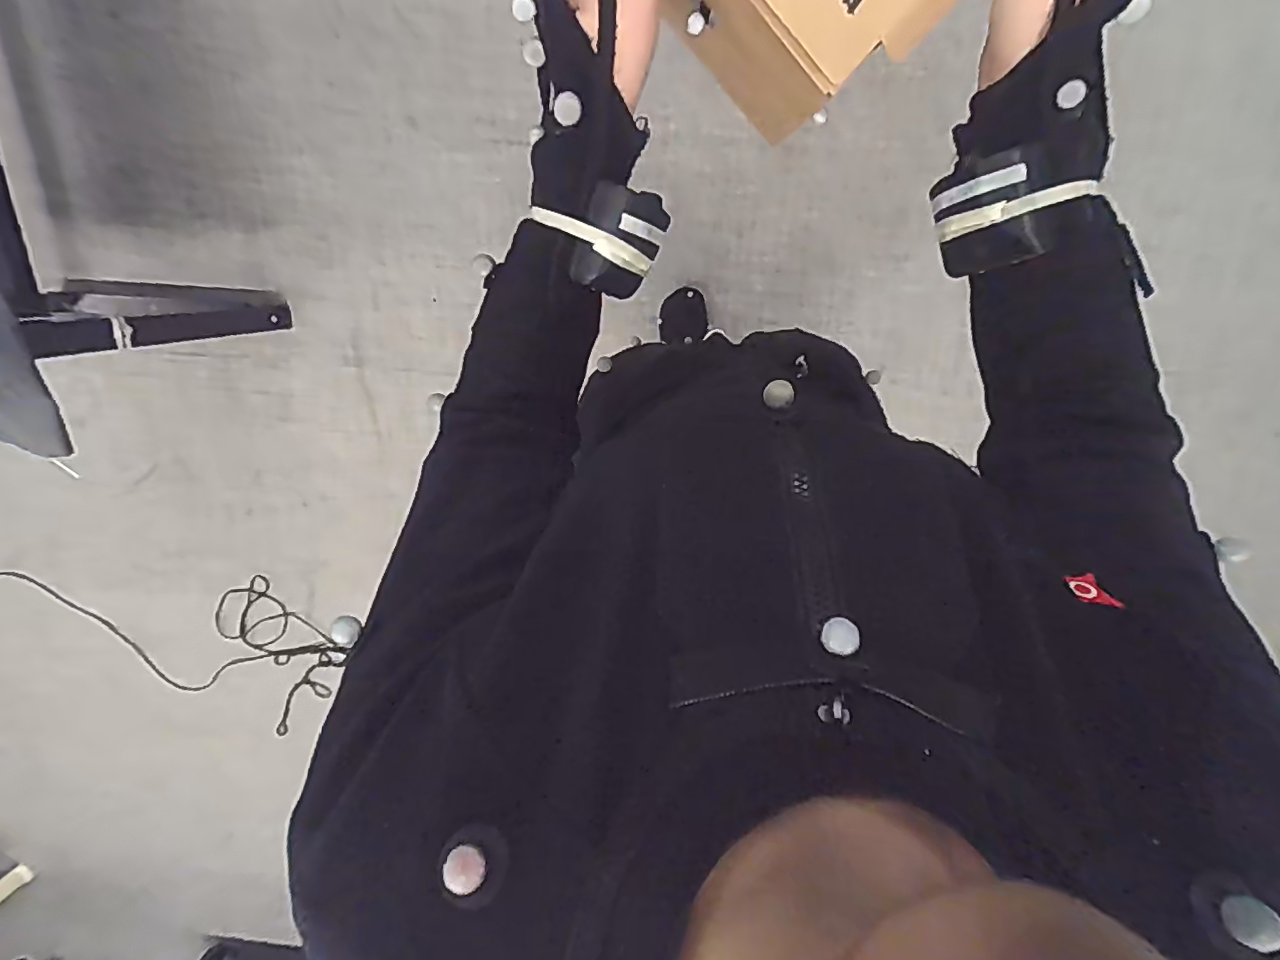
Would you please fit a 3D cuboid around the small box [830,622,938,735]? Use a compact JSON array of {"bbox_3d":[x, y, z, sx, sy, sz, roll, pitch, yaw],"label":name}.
[{"bbox_3d":[0.566,0.465,1.282,0.168,0.176,0.179,8,109,0],"label":"small box"}]
